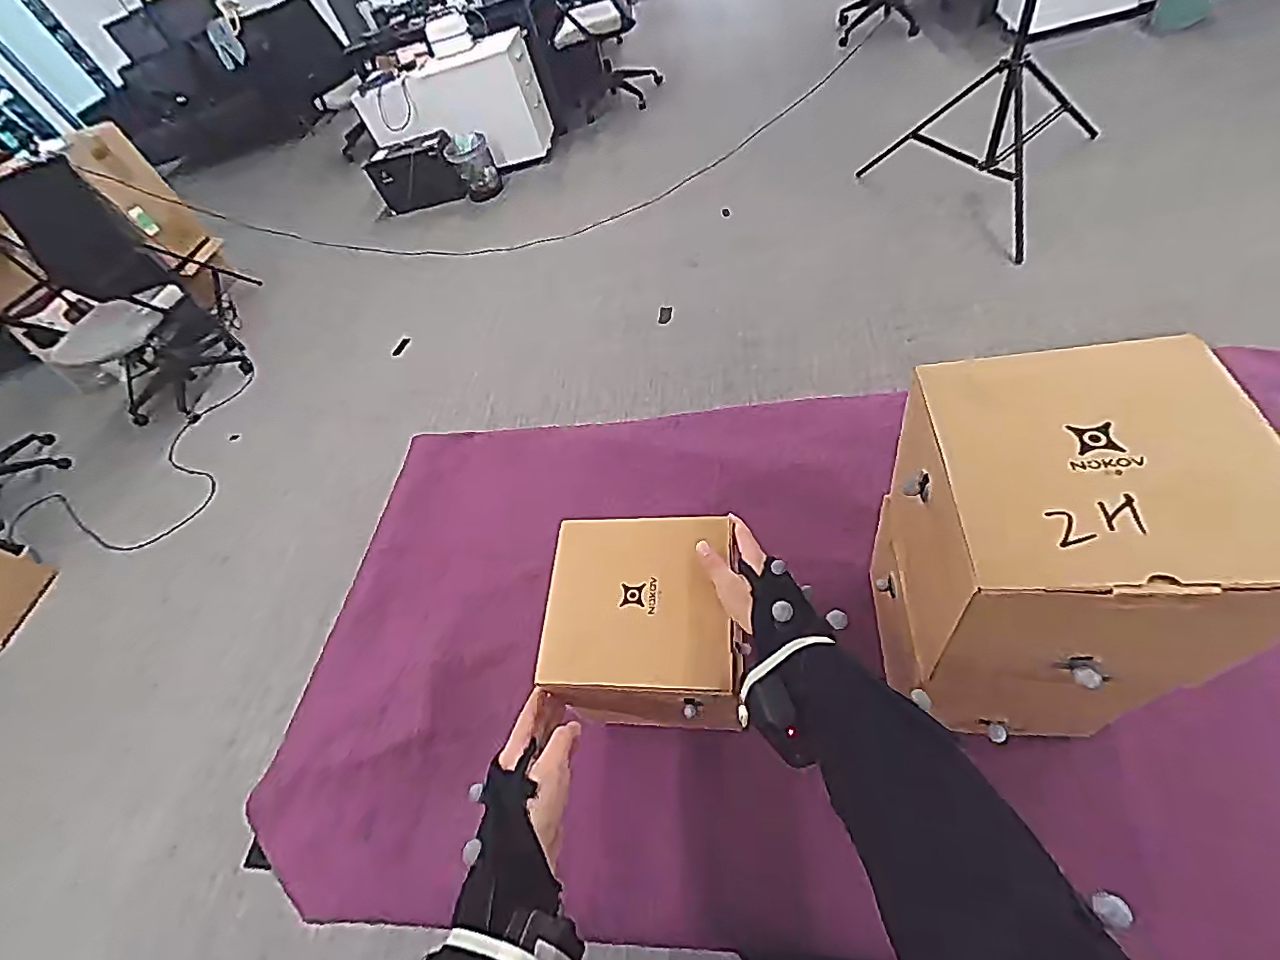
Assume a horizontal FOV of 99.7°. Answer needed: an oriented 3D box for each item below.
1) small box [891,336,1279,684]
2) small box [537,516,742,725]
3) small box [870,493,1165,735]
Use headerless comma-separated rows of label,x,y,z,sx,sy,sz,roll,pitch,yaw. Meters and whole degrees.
small box,0.285,0.028,0.383,0.168,0.176,0.179,-5,53,15
small box,0.014,0.152,0.568,0.179,0.176,0.168,-2,55,11
small box,0.321,0.125,0.512,0.168,0.176,0.179,-4,53,15
